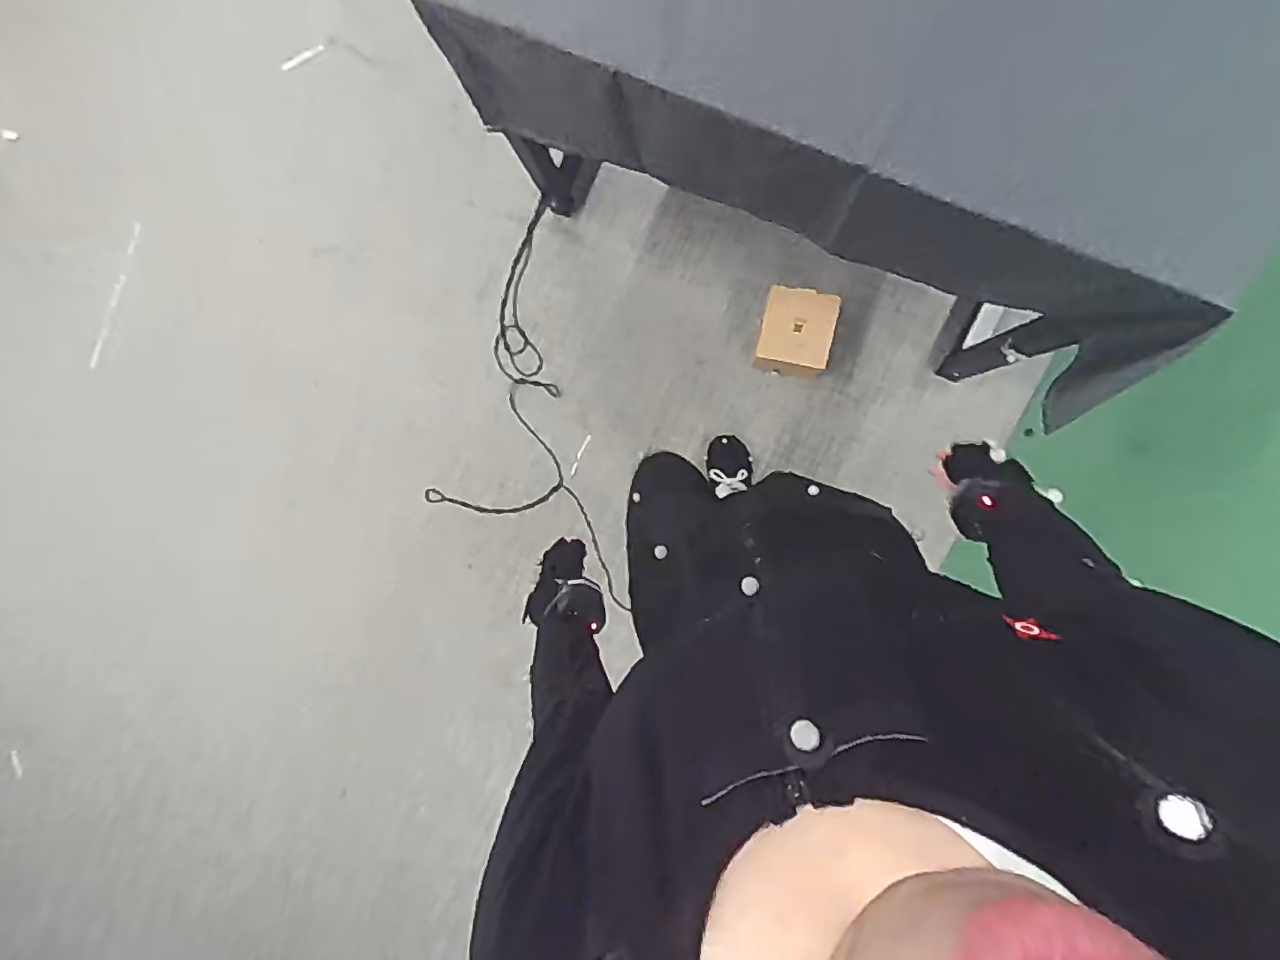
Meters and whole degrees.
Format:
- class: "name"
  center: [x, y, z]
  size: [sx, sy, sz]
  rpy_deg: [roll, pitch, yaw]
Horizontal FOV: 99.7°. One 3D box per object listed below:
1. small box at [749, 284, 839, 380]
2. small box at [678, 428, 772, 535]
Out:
- class: "small box"
  center: [0.374, -0.362, 1.348]
  size: [0.168, 0.176, 0.179]
  rpy_deg: [13, 93, 6]
- class: "small box"
  center: [0.221, 0.006, 1.391]
  size: [0.168, 0.176, 0.179]
  rpy_deg: [35, 73, 30]
